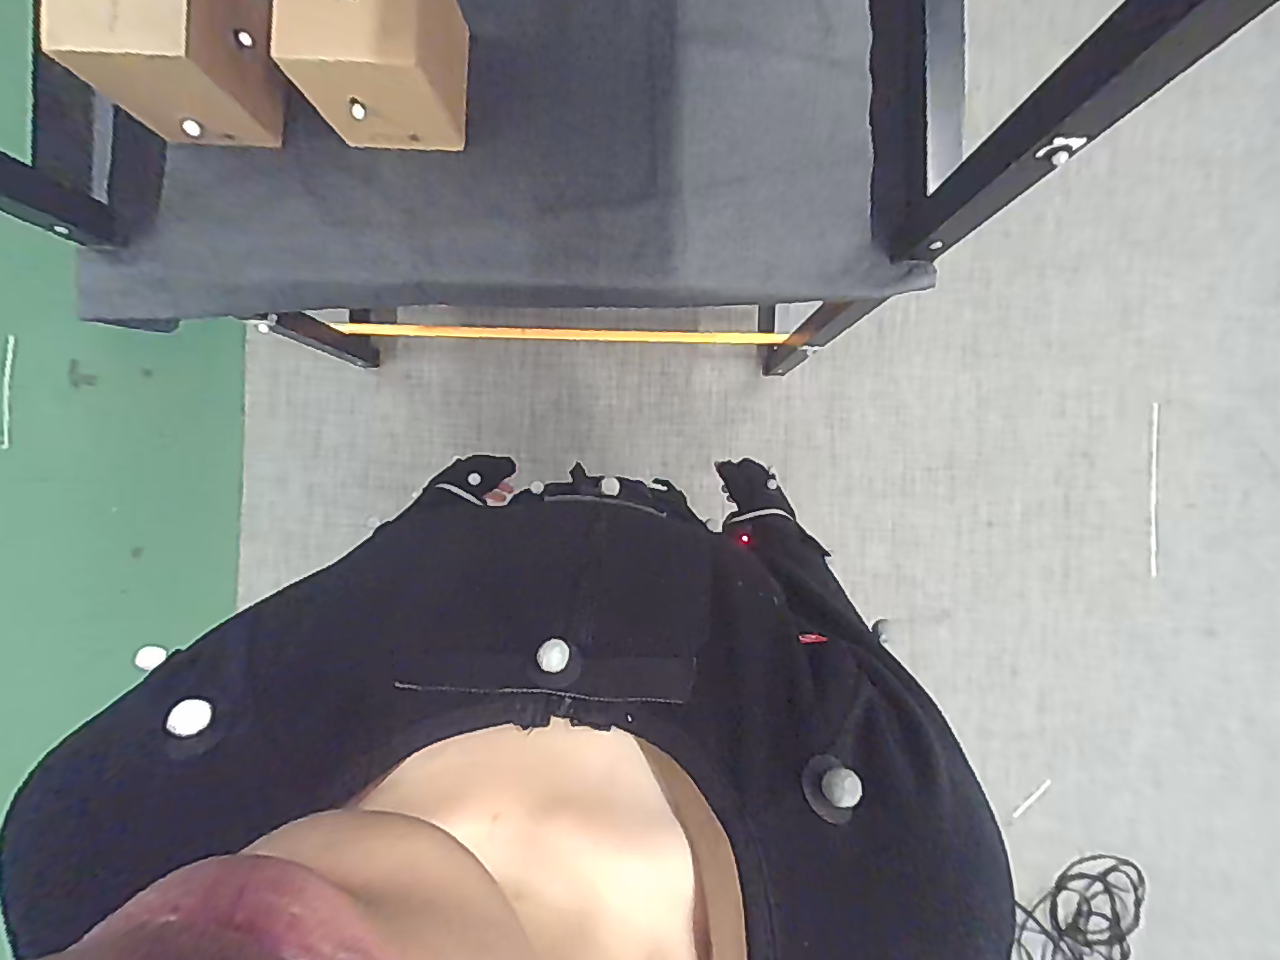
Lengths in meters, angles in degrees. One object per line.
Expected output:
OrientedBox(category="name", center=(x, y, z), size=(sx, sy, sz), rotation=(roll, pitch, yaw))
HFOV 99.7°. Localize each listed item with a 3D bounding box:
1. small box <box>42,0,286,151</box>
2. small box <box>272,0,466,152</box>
OrientedBox(category="small box", center=(-0.583, -0.558, 0.686), size=(0.168, 0.176, 0.179), rotation=(2, 90, 0))
OrientedBox(category="small box", center=(-0.330, -0.552, 0.690), size=(0.168, 0.176, 0.179), rotation=(2, 89, 0))
